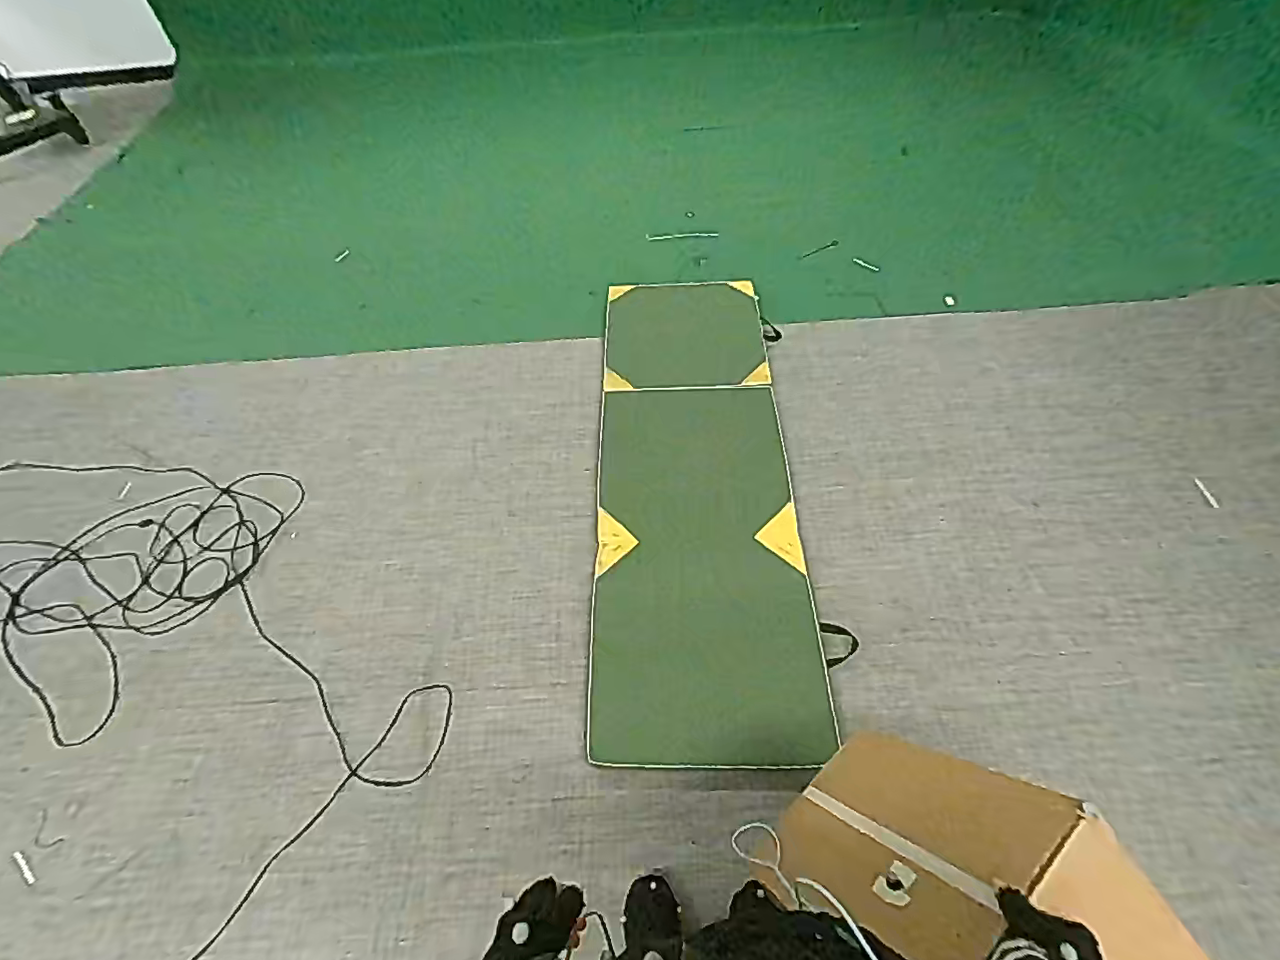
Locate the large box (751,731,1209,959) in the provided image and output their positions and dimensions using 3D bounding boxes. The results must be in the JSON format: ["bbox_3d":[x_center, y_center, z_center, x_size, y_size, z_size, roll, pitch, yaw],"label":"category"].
[{"bbox_3d":[0.433,0.609,0.737,0.320,0.408,0.320,-37,89,-20],"label":"large box"}]
